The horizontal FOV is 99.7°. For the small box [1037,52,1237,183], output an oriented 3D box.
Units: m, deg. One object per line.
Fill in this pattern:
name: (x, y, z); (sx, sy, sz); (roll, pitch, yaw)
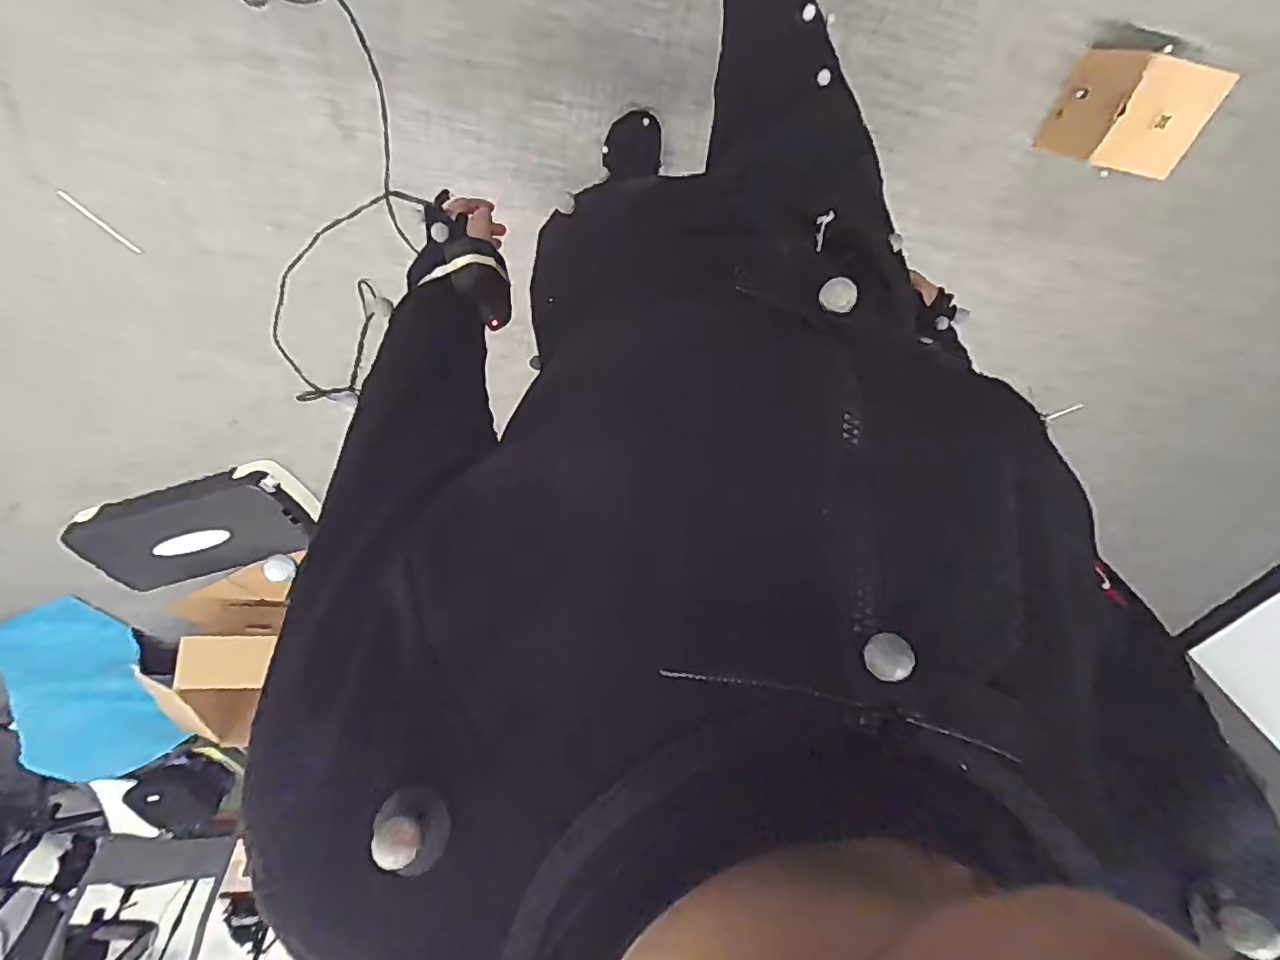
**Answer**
small box: (0.914, -0.683, 1.015); (0.179, 0.176, 0.168); (5, 131, -9)
